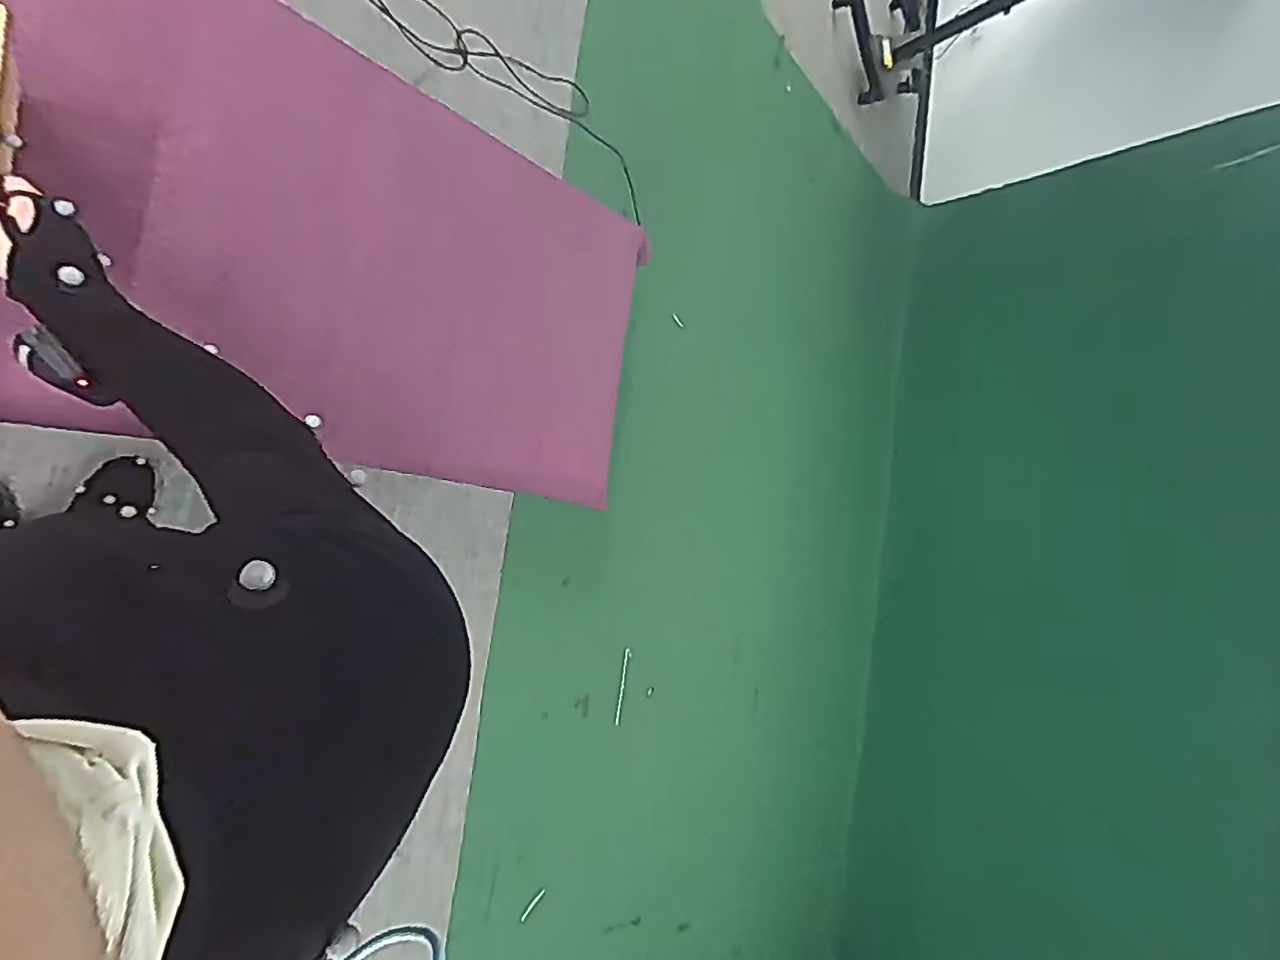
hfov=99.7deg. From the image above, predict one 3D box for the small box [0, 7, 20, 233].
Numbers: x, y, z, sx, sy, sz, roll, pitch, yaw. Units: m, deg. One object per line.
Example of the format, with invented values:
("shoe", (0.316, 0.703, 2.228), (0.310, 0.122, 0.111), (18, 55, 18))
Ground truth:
("small box", (-0.677, -0.342, 0.472), (0.168, 0.176, 0.179), (6, 90, -47))
